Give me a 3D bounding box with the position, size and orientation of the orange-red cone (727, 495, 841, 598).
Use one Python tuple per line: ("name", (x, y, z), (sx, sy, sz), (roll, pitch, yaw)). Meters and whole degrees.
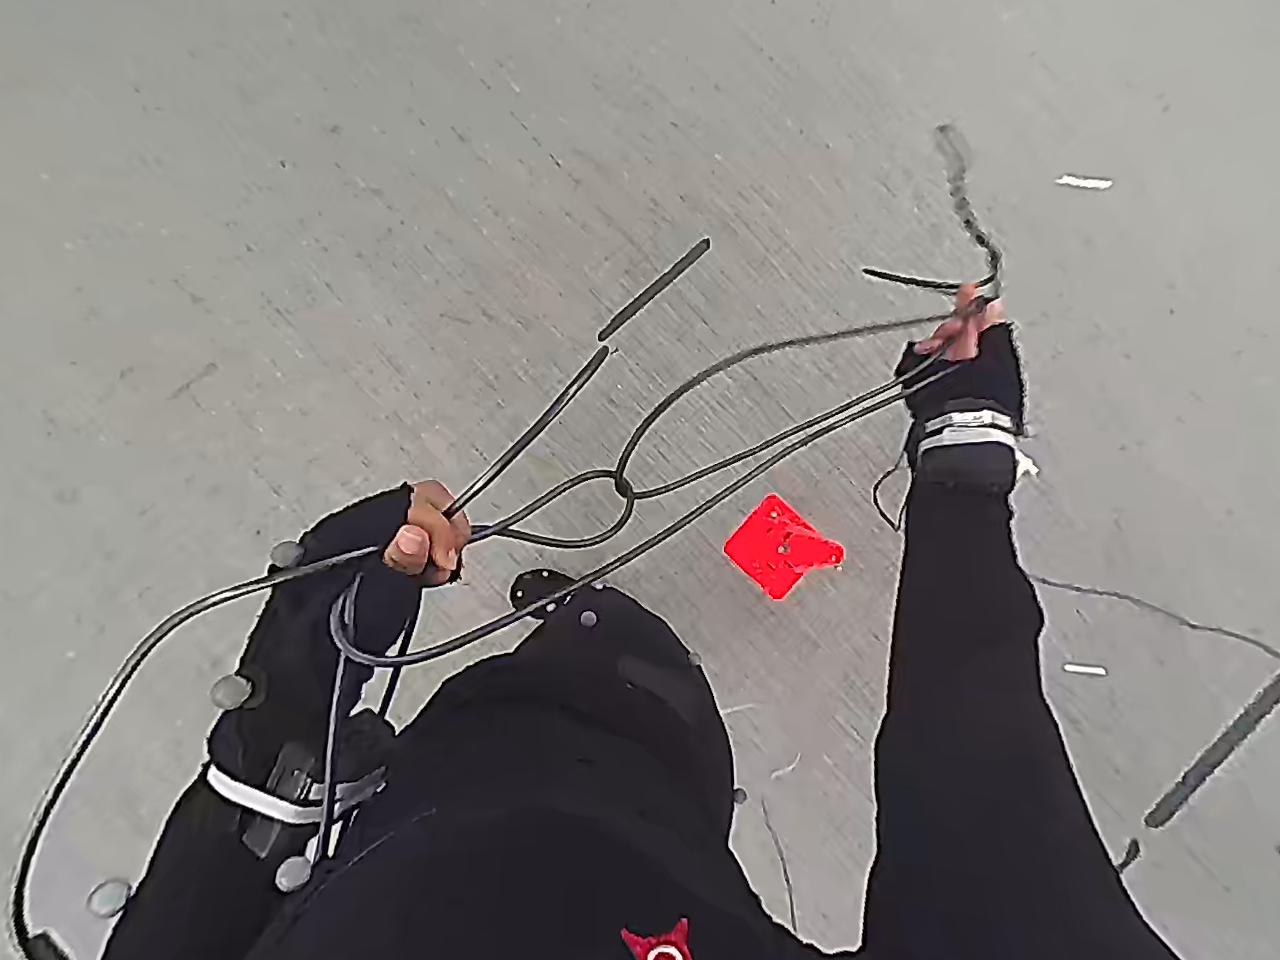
("orange-red cone", (0.344, 0.149, 1.158), (0.198, 0.360, 0.199), (44, 85, 2))
